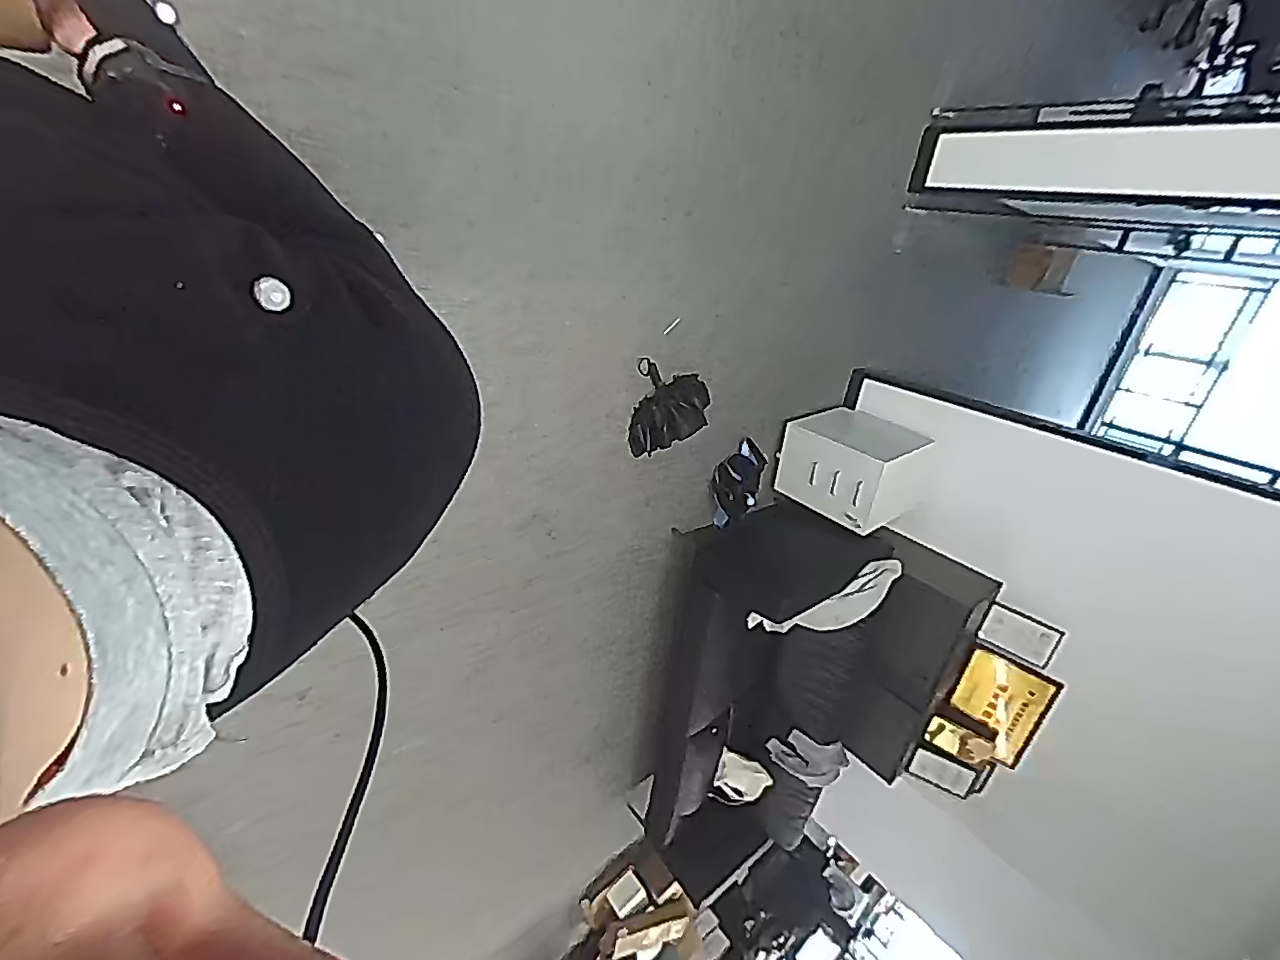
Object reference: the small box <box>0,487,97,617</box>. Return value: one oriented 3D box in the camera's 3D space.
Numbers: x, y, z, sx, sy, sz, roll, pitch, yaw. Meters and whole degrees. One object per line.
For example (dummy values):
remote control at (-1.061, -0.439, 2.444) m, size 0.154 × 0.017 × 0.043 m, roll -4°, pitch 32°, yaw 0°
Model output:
small box at (-1.265, 0.141, 1.100) m, size 0.179 × 0.176 × 0.168 m, roll -52°, pitch 137°, yaw -6°
